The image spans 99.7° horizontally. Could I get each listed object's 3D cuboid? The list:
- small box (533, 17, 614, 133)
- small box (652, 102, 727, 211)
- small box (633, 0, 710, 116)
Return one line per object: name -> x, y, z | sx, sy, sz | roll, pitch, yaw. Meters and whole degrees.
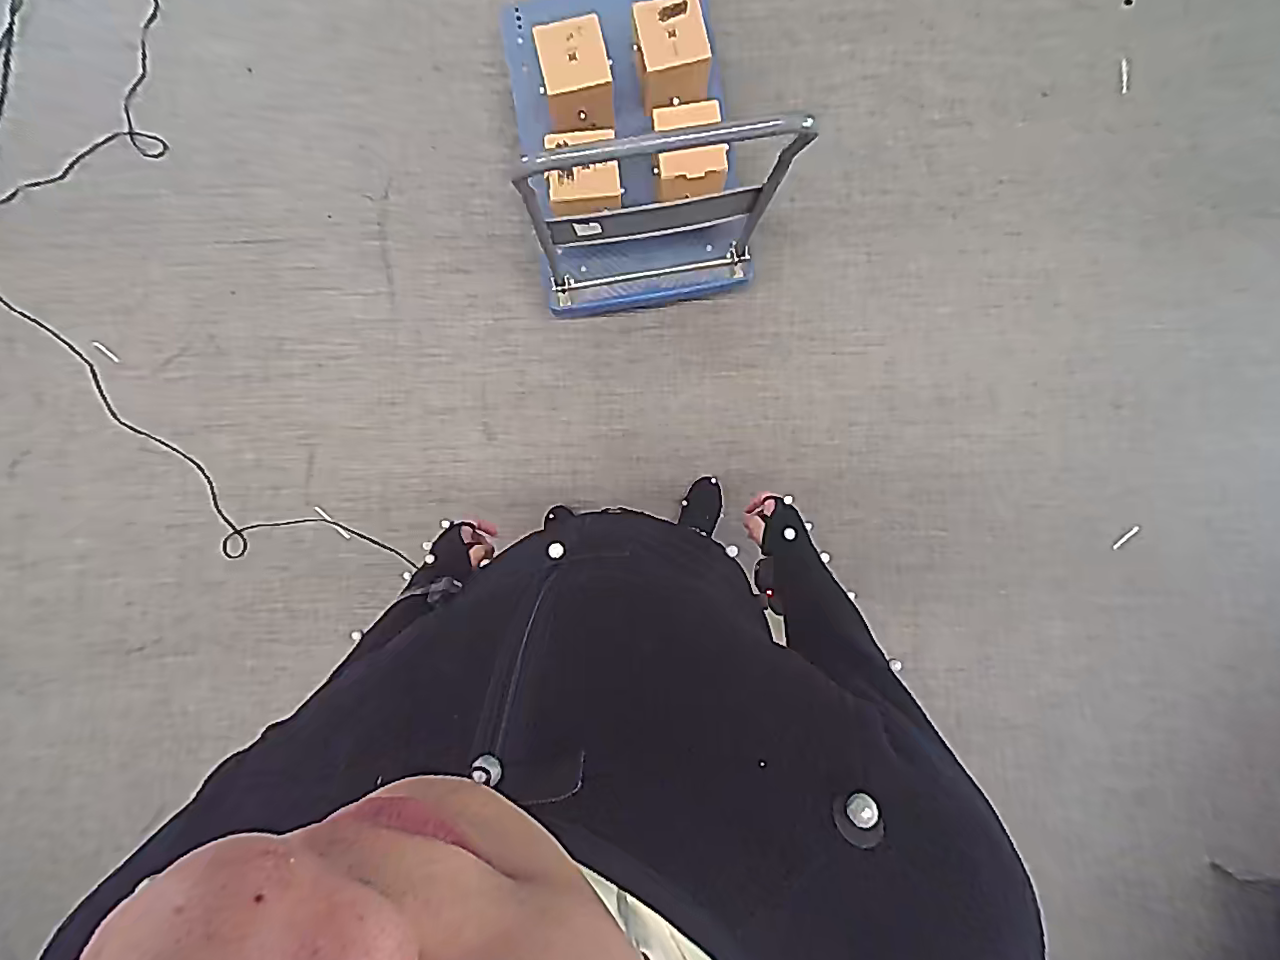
small box -> -0.167, -1.048, 1.420 | 0.168, 0.176, 0.179 | -13, 89, -1
small box -> 0.123, -0.840, 1.416 | 0.168, 0.176, 0.179 | -9, 90, 0
small box -> 0.077, -1.107, 1.418 | 0.168, 0.176, 0.179 | -13, 90, 1
